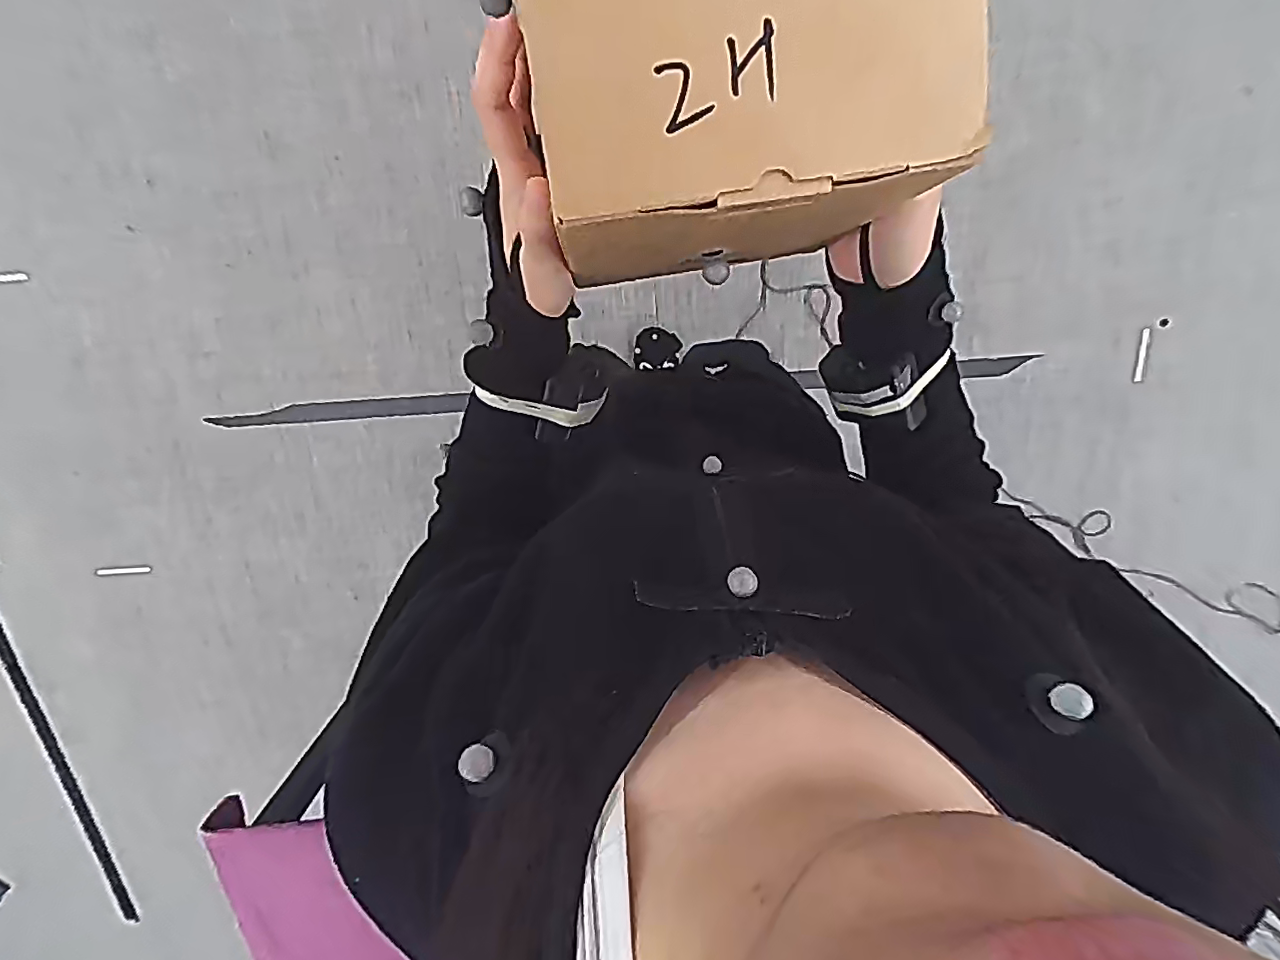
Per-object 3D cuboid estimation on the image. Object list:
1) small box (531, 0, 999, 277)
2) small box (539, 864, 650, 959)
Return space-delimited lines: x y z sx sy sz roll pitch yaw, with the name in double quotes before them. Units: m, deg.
"small box" 0.035 -0.212 0.260 0.168 0.176 0.179 -10 103 -2
"small box" -0.068 0.769 0.879 0.168 0.176 0.179 -3 106 -2
